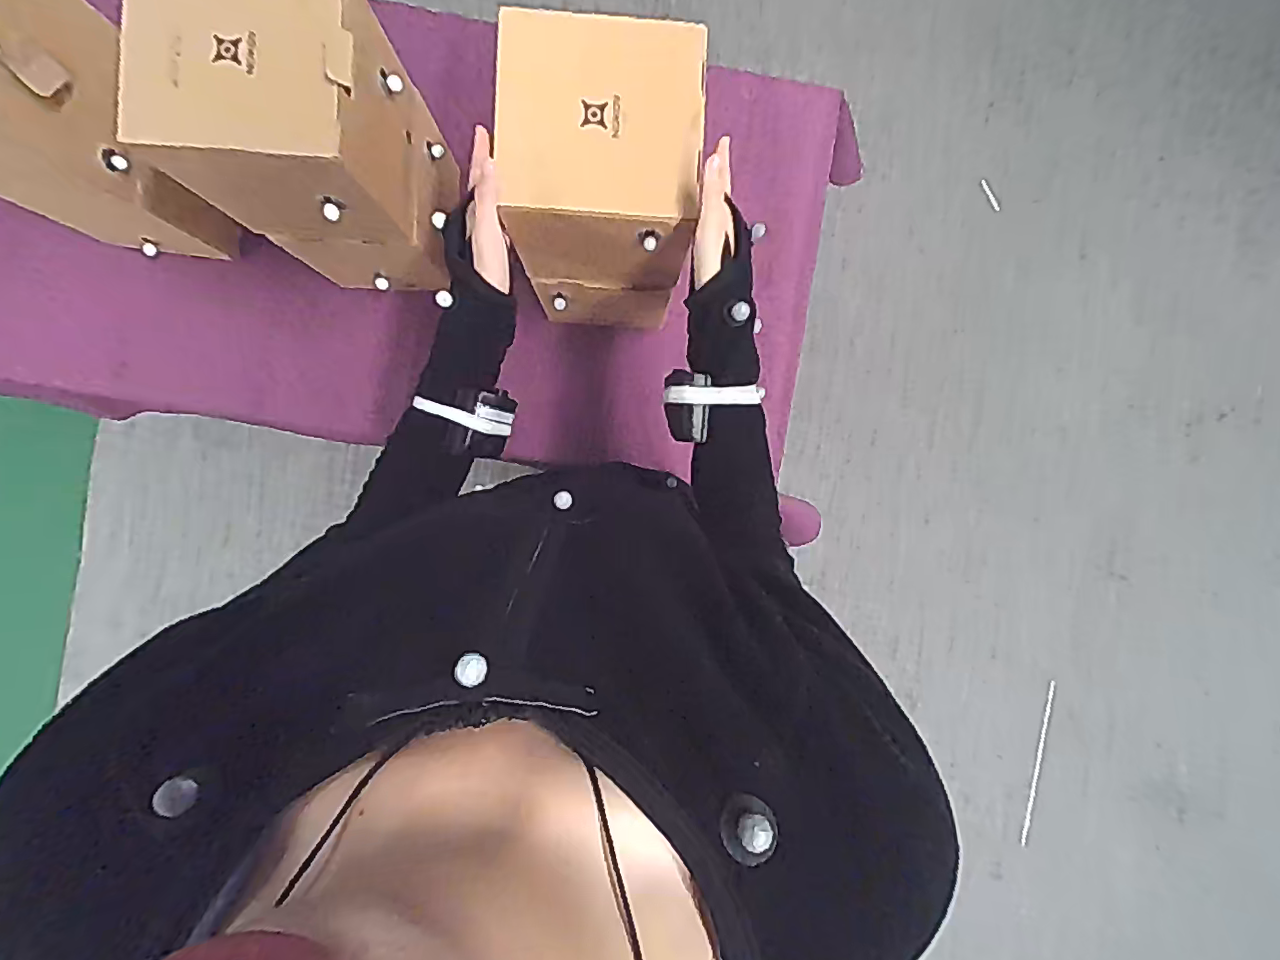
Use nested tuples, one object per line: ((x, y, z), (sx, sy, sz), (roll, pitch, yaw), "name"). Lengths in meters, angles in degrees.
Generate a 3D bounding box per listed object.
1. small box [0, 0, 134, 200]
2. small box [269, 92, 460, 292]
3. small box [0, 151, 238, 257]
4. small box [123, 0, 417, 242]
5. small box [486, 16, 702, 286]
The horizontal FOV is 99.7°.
((-0.625, -0.390, 0.509), (0.179, 0.176, 0.168), (7, 92, -2), "small box")
((-0.337, -0.357, 0.688), (0.168, 0.176, 0.179), (2, 92, -2), "small box")
((-0.633, -0.396, 0.673), (0.179, 0.176, 0.168), (7, 91, -3), "small box")
((-0.333, -0.349, 0.524), (0.179, 0.176, 0.168), (4, 90, -2), "small box")
((-0.041, -0.305, 0.538), (0.179, 0.176, 0.168), (3, 91, -3), "small box")
